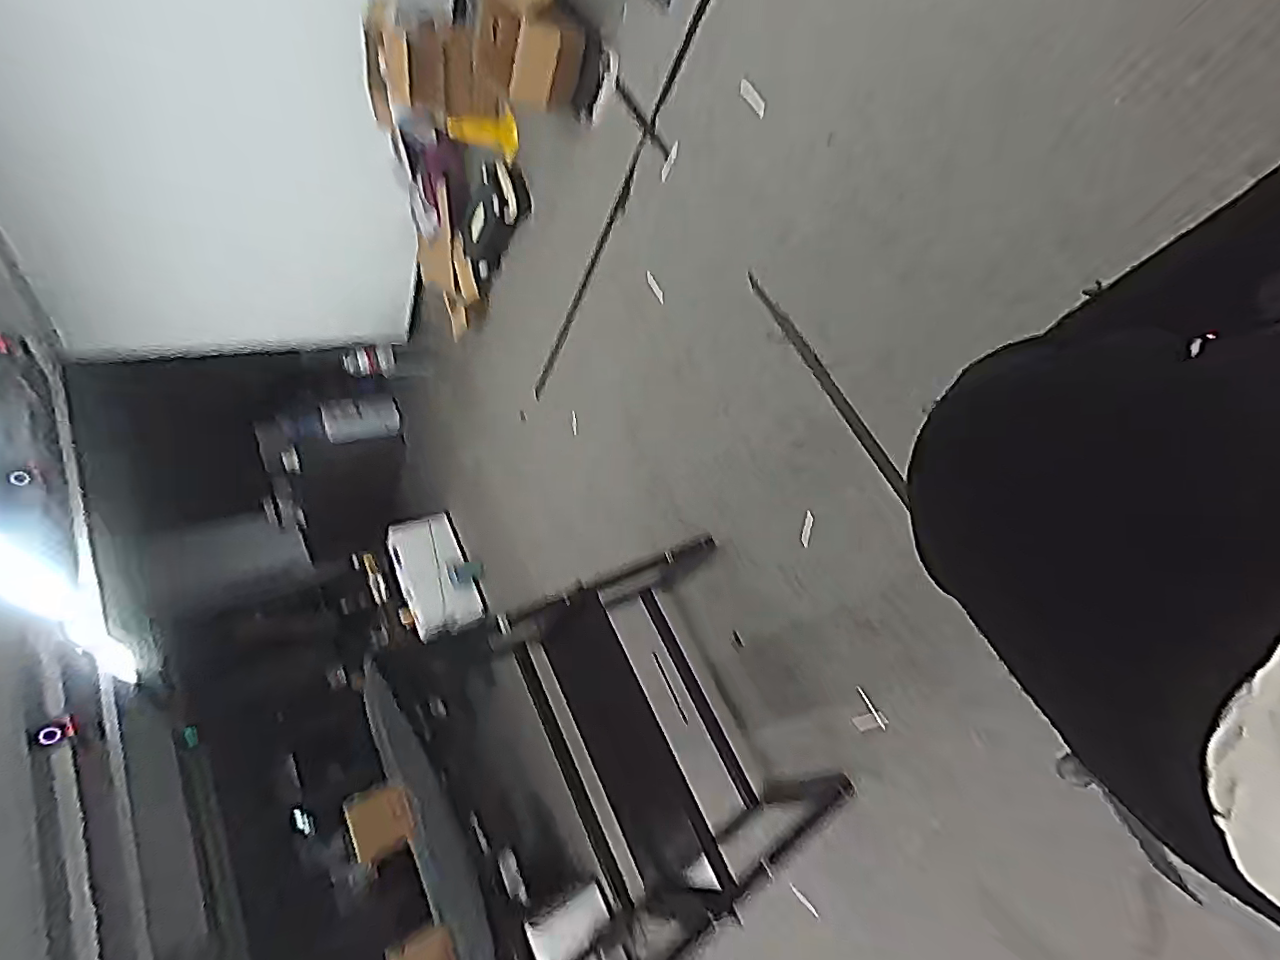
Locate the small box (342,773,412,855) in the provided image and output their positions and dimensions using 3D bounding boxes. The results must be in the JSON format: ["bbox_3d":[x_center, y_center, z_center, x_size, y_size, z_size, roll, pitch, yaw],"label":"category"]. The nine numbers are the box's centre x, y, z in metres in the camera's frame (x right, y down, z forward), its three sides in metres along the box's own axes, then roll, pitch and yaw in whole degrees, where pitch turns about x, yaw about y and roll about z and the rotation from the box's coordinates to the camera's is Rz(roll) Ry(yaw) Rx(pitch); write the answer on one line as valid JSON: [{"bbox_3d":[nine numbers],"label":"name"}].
[{"bbox_3d":[-0.852,1.073,1.751,0.179,0.176,0.168,-45,66,50],"label":"small box"}]

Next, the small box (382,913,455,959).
[{"bbox_3d":[-0.660,1.455,1.633,0.168,0.176,0.179,62,143,17],"label":"small box"}]
